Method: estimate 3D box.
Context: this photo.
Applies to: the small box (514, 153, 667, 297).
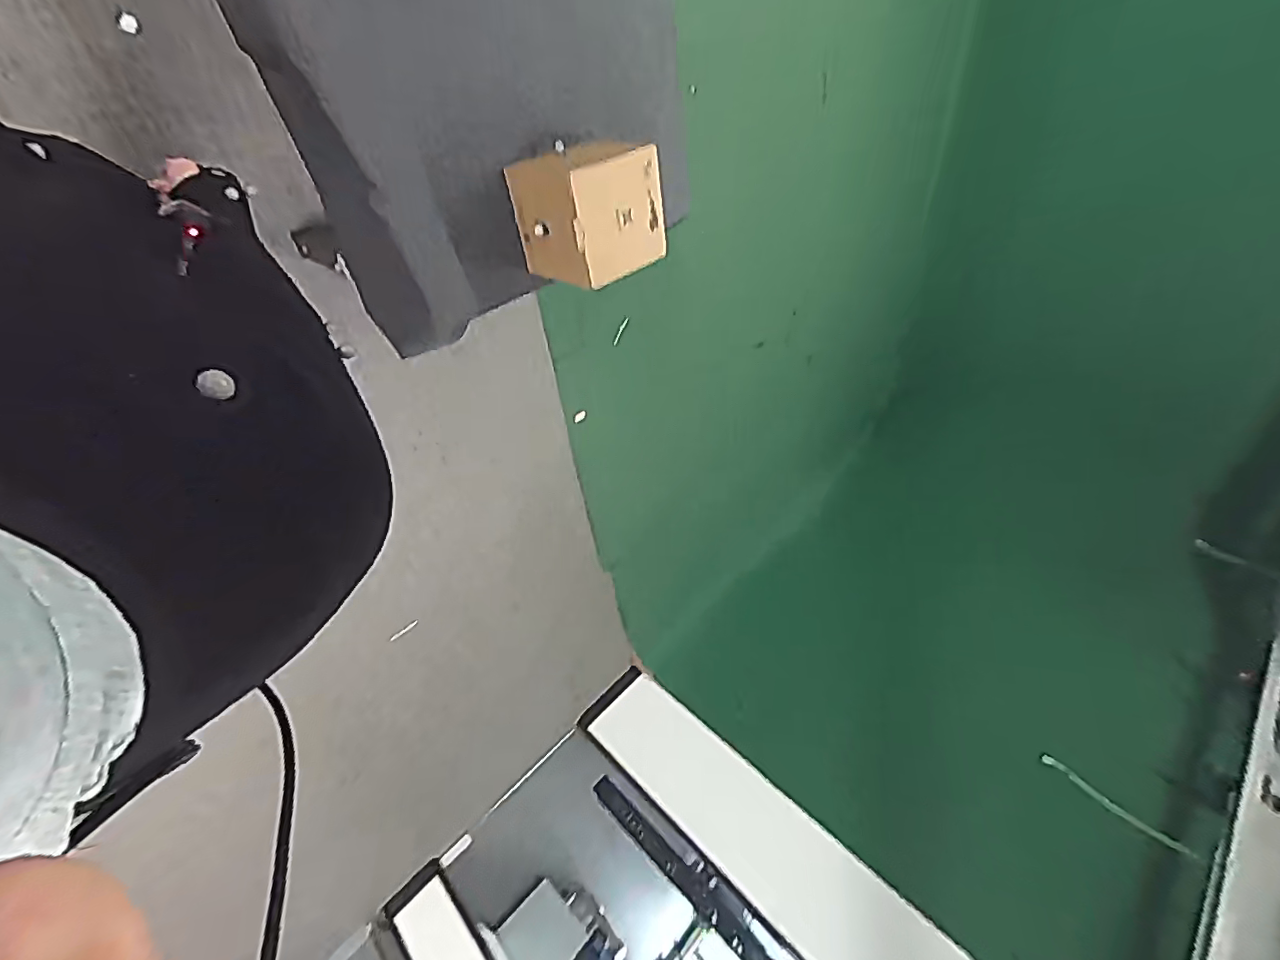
[{"bbox_3d":[-0.081,-0.414,0.870,0.179,0.176,0.168,-36,136,-29],"label":"small box"}]
